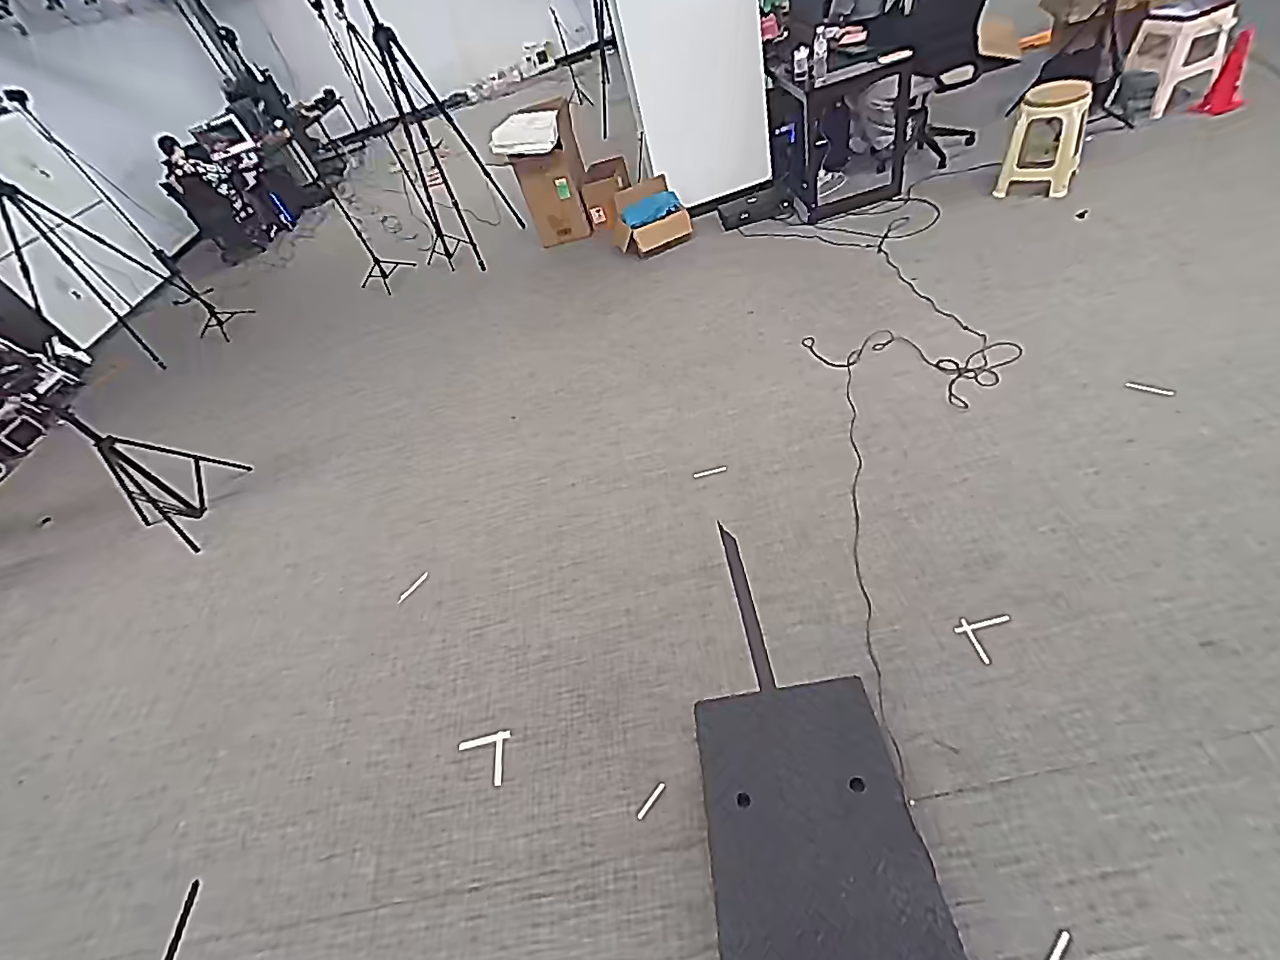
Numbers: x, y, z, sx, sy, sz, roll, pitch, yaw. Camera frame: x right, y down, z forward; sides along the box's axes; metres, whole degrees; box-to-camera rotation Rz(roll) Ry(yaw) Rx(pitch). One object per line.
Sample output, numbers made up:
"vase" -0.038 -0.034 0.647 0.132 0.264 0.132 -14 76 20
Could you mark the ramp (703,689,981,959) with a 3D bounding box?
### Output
"ramp" 0.432 0.946 1.180 0.509 0.206 0.991 -17 43 7
